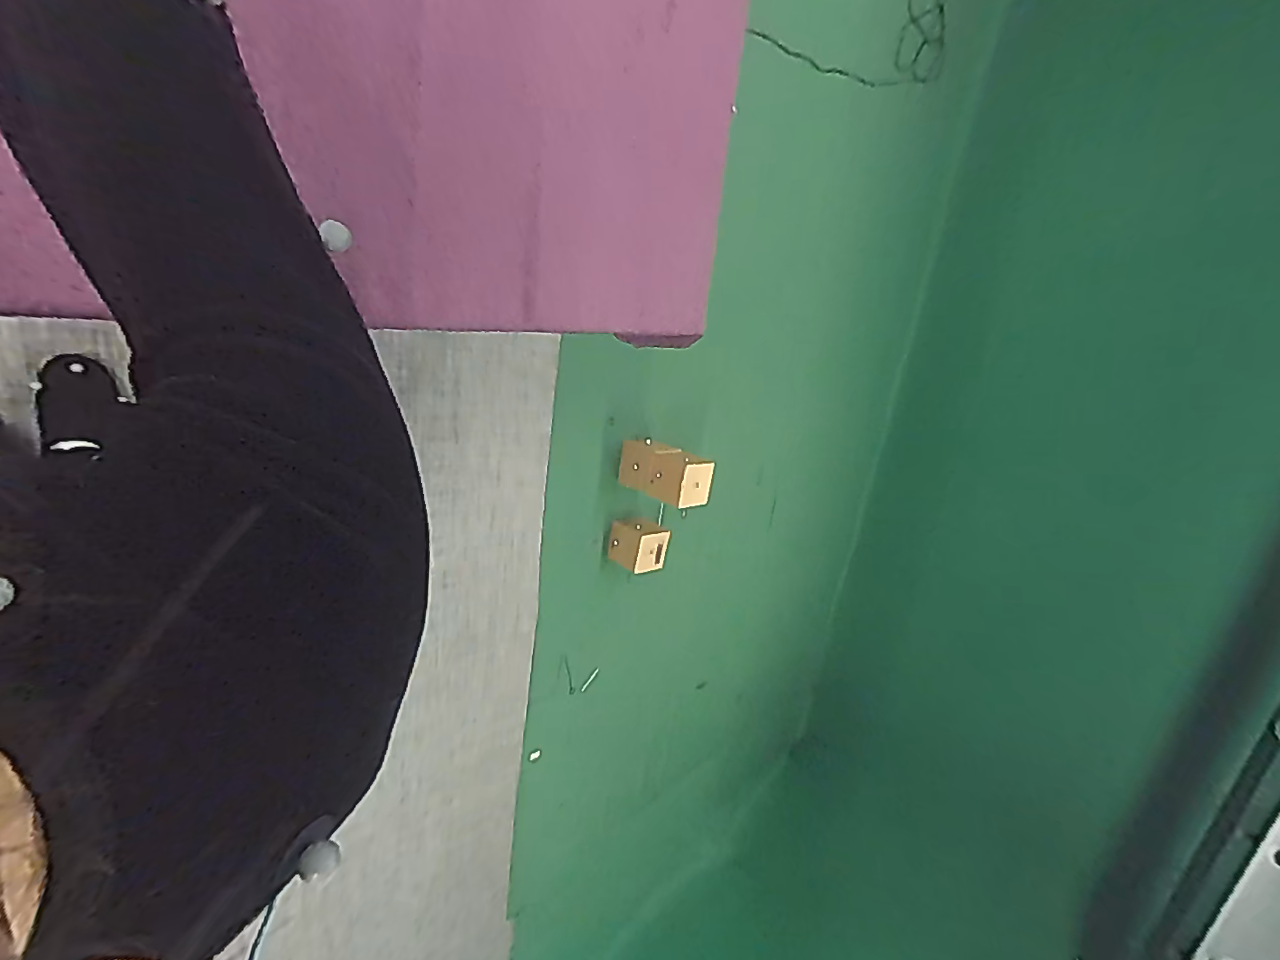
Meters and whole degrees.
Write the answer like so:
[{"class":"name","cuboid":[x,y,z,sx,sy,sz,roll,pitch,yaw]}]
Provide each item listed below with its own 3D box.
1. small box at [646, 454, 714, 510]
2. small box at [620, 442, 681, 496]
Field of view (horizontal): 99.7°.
[{"class":"small box","cuboid":[0.151,0.001,2.036,0.179,0.176,0.168,-7,111,-46]},{"class":"small box","cuboid":[0.038,-0.047,2.143,0.168,0.176,0.179,-7,110,-46]}]
